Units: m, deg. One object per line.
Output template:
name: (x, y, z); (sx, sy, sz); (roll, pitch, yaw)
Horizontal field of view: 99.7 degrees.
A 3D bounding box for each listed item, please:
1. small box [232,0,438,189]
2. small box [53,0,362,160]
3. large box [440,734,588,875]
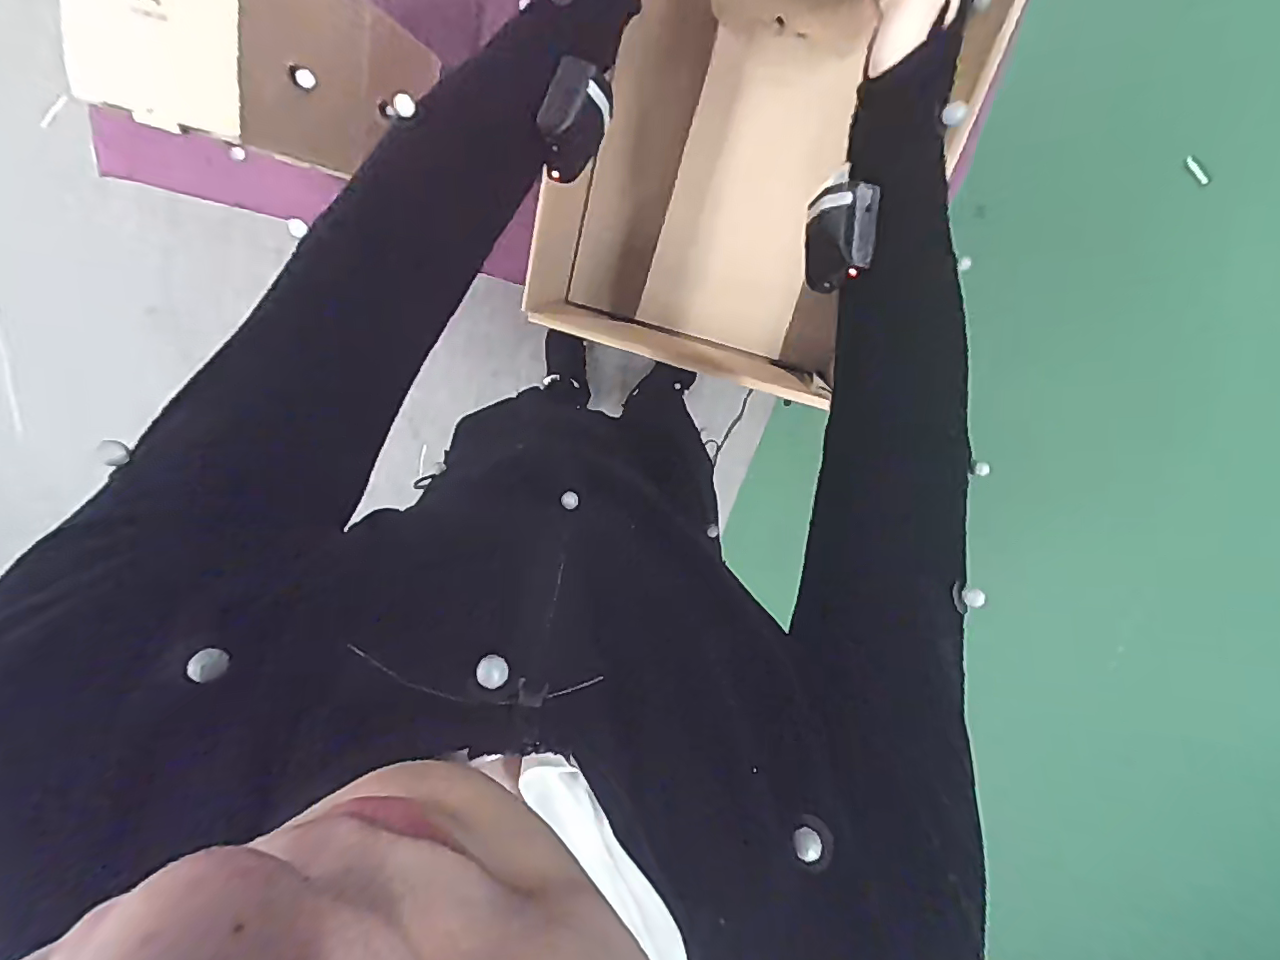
small box: (-0.370, -0.482, 0.667); (0.168, 0.176, 0.179); (18, 110, 1)
small box: (-0.391, -0.429, 0.512); (0.168, 0.176, 0.179); (17, 112, 1)
large box: (-0.454, 1.208, 2.026); (0.408, 0.320, 0.320); (-14, 109, 12)
